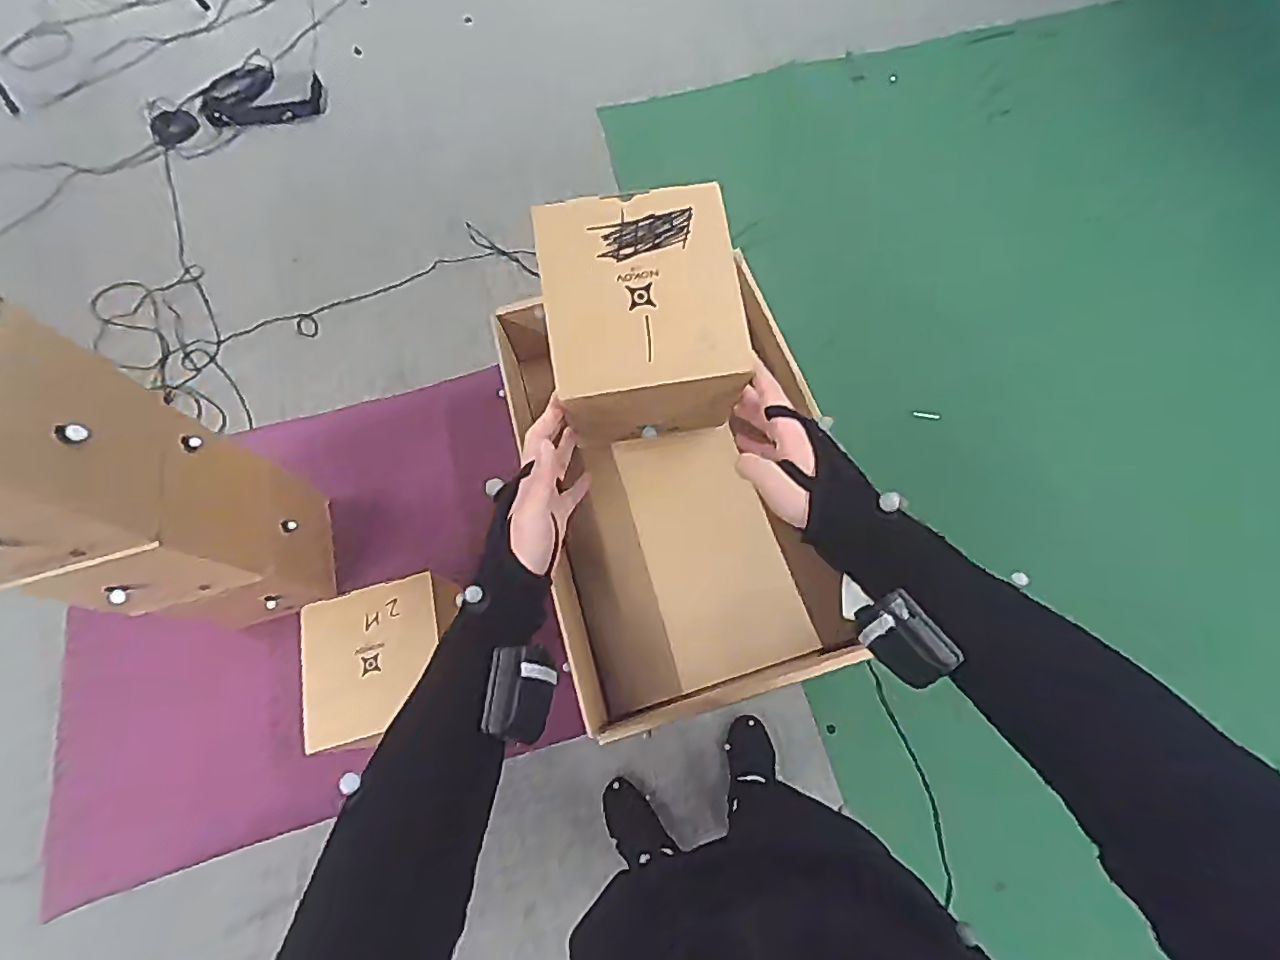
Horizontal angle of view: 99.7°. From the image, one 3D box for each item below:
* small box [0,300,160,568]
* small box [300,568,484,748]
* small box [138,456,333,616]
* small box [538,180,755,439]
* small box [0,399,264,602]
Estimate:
[{"bbox_3d":[-0.585,-0.030,0.488,0.168,0.176,0.179,-16,69,-6],"label":"small box"},{"bbox_3d":[-0.319,0.236,0.720,0.168,0.176,0.179,-14,68,-4],"label":"small box"},{"bbox_3d":[-0.575,0.092,0.791,0.168,0.176,0.179,-15,68,-5],"label":"small box"},{"bbox_3d":[0.002,-0.152,0.532,0.168,0.176,0.179,-9,81,-1],"label":"small box"},{"bbox_3d":[-0.580,0.036,0.639,0.168,0.176,0.179,-16,68,-5],"label":"small box"}]
